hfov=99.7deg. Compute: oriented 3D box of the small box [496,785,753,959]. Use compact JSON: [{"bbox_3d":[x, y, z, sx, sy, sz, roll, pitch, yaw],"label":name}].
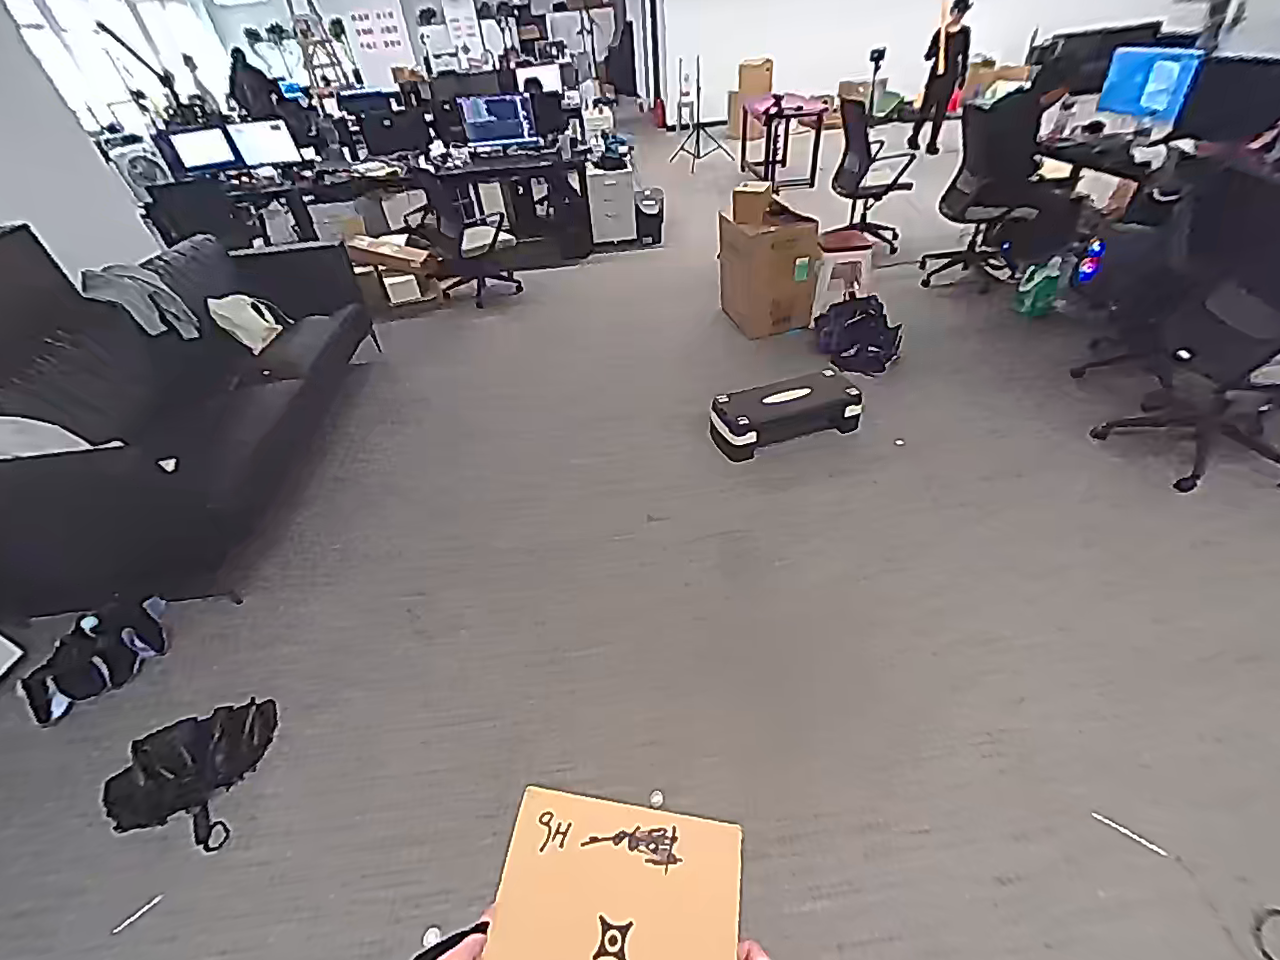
[{"bbox_3d":[-0.010,0.360,0.418,0.168,0.176,0.179,7,53,5],"label":"small box"}]
